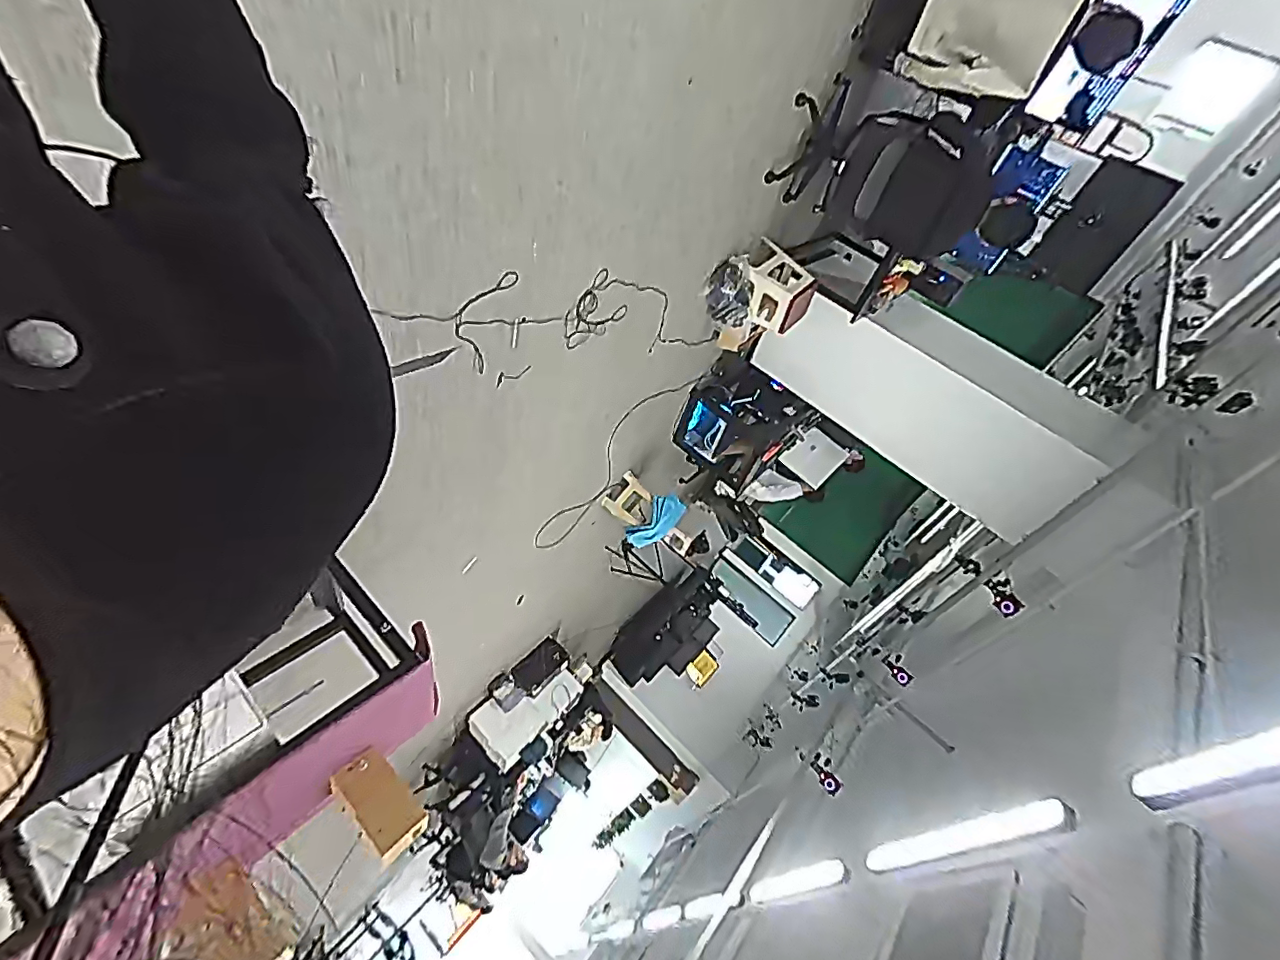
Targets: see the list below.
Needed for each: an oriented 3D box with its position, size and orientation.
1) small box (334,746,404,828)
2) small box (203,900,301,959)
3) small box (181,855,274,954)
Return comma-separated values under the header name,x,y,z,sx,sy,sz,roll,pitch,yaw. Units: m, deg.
name,x,y,z,sx,sy,sz,roll,pitch,yaw
small box,-0.983,1.107,1.961,0.168,0.176,0.179,-32,153,-45
small box,-1.163,1.421,1.629,0.179,0.176,0.168,-33,154,-44
small box,-1.283,1.322,1.679,0.179,0.176,0.168,-33,155,-43
